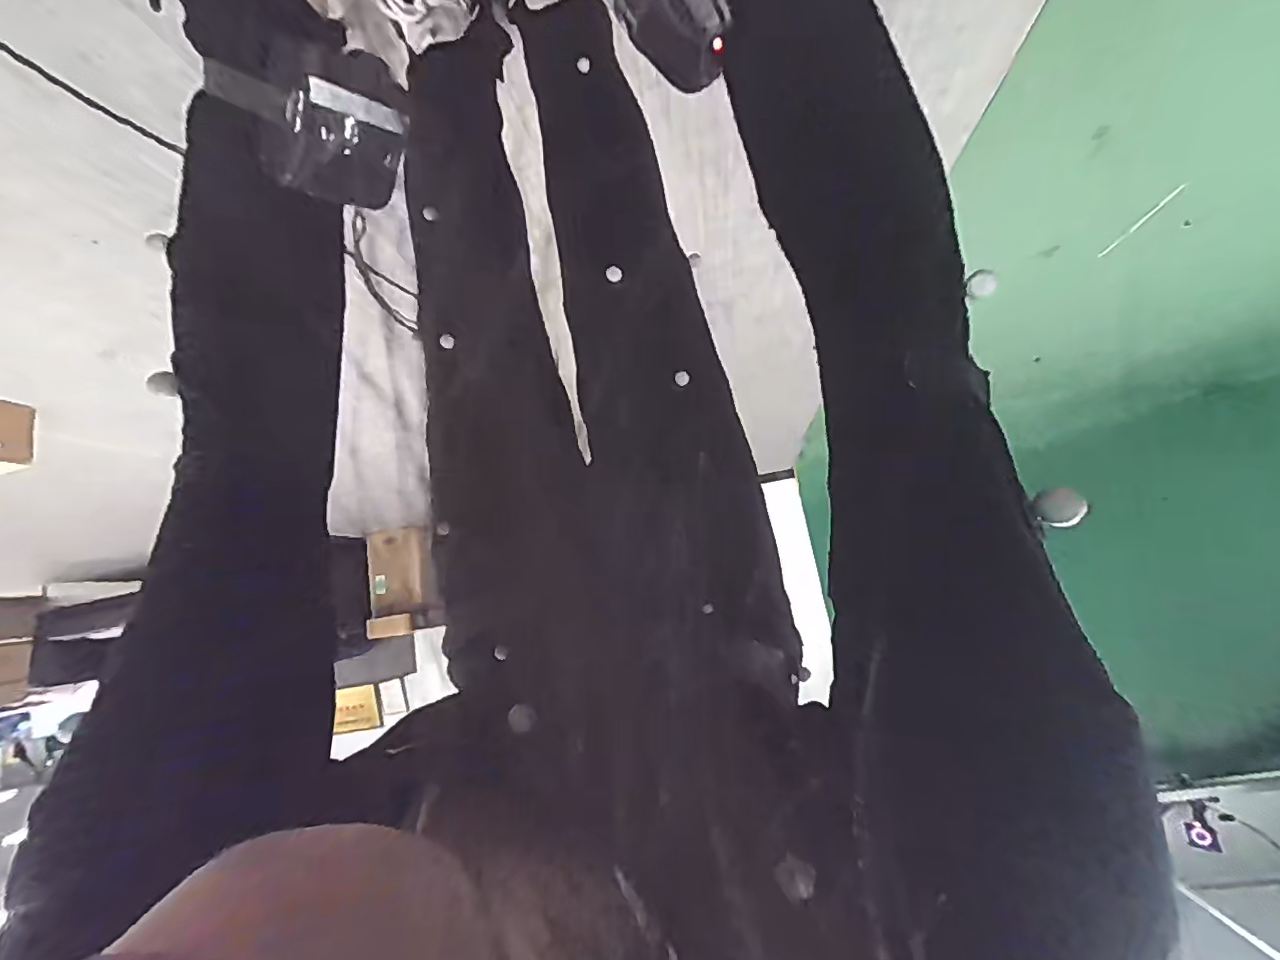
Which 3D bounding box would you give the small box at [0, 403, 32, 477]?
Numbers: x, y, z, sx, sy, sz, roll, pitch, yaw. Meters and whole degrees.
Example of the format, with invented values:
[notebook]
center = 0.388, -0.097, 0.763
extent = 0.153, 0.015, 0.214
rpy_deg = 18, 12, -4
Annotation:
[small box]
center = -1.692, -0.106, 1.349
extent = 0.168, 0.176, 0.179
rpy_deg = -12, 170, 8
